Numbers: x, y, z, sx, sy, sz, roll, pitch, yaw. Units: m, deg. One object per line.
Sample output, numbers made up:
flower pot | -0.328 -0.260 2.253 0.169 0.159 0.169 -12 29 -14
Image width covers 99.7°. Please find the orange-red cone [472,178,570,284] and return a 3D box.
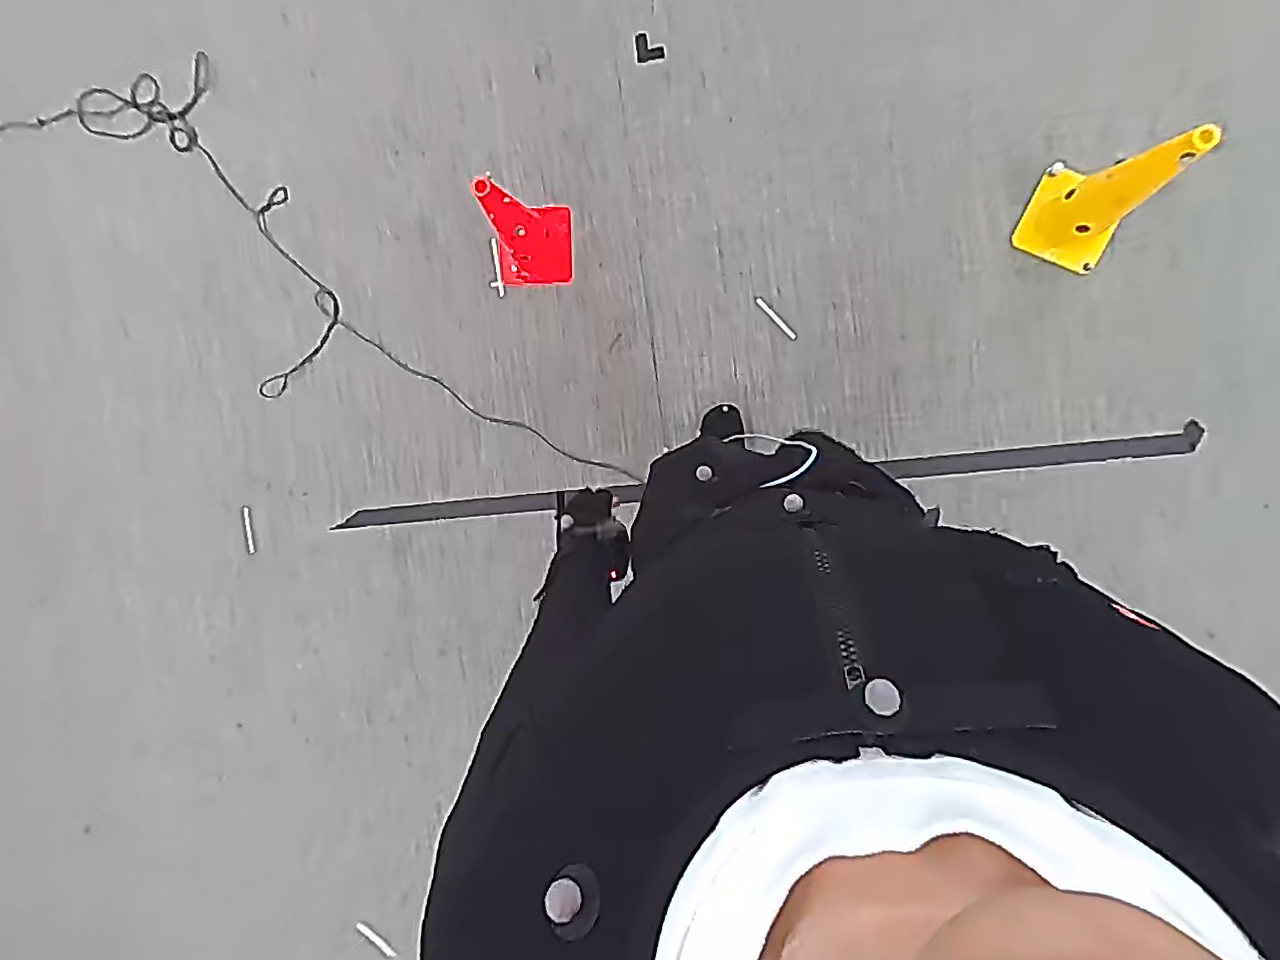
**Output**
orange-red cone | -0.300 -0.605 1.260 0.199 0.360 0.198 1 95 6

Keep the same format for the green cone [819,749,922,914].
green cone | 0.577 0.839 1.266 0.202 0.368 0.200 -22 91 9
